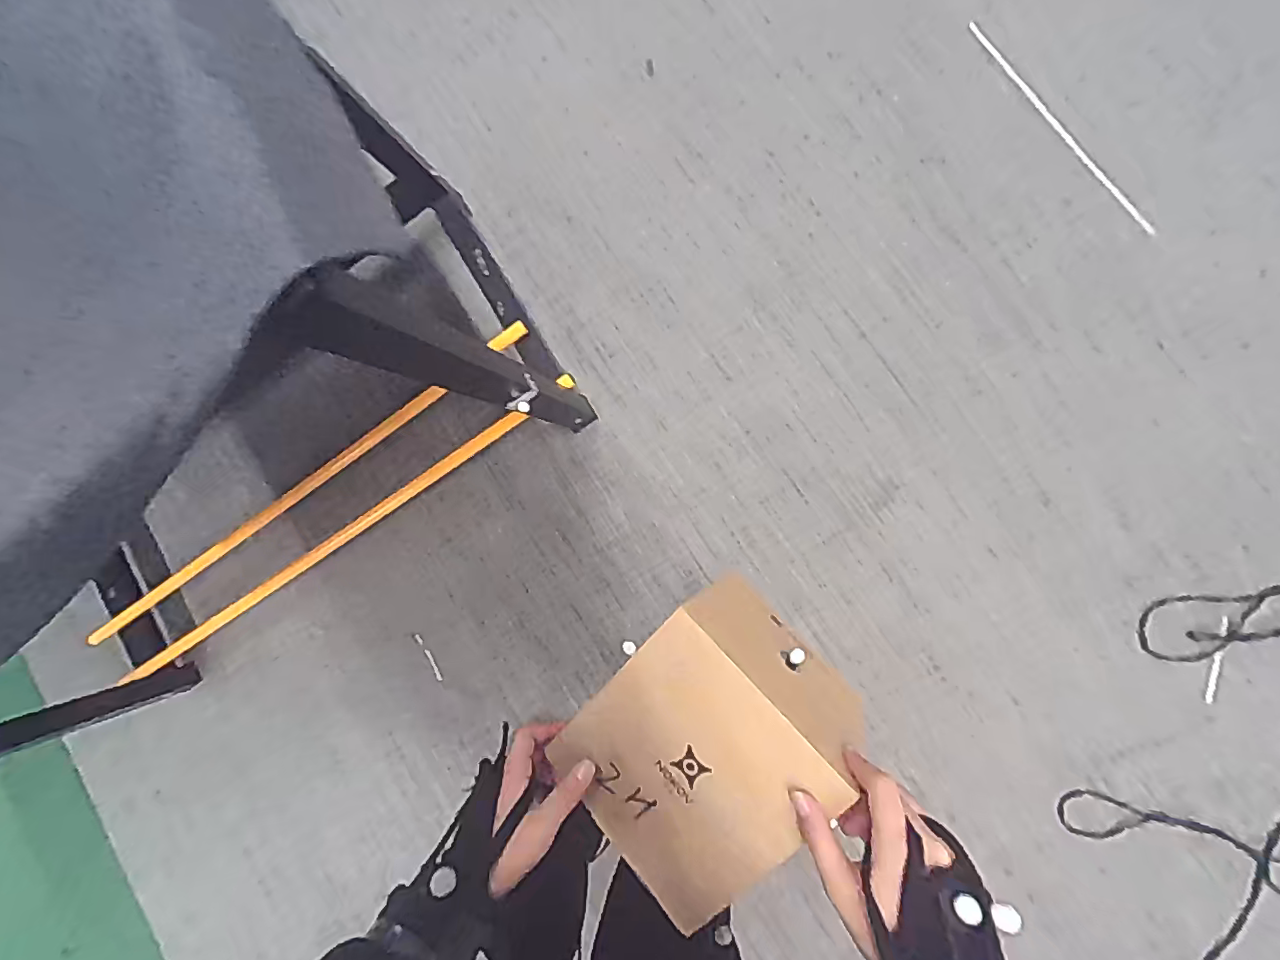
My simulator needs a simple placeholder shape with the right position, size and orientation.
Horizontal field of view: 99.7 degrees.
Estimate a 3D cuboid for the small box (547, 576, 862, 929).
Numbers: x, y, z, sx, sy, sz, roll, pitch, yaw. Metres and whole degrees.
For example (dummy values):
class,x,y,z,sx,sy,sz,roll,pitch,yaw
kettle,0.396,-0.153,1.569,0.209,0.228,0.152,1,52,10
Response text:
class,x,y,z,sx,sy,sz,roll,pitch,yaw
small box,0.062,0.203,0.459,0.168,0.176,0.179,44,106,18
